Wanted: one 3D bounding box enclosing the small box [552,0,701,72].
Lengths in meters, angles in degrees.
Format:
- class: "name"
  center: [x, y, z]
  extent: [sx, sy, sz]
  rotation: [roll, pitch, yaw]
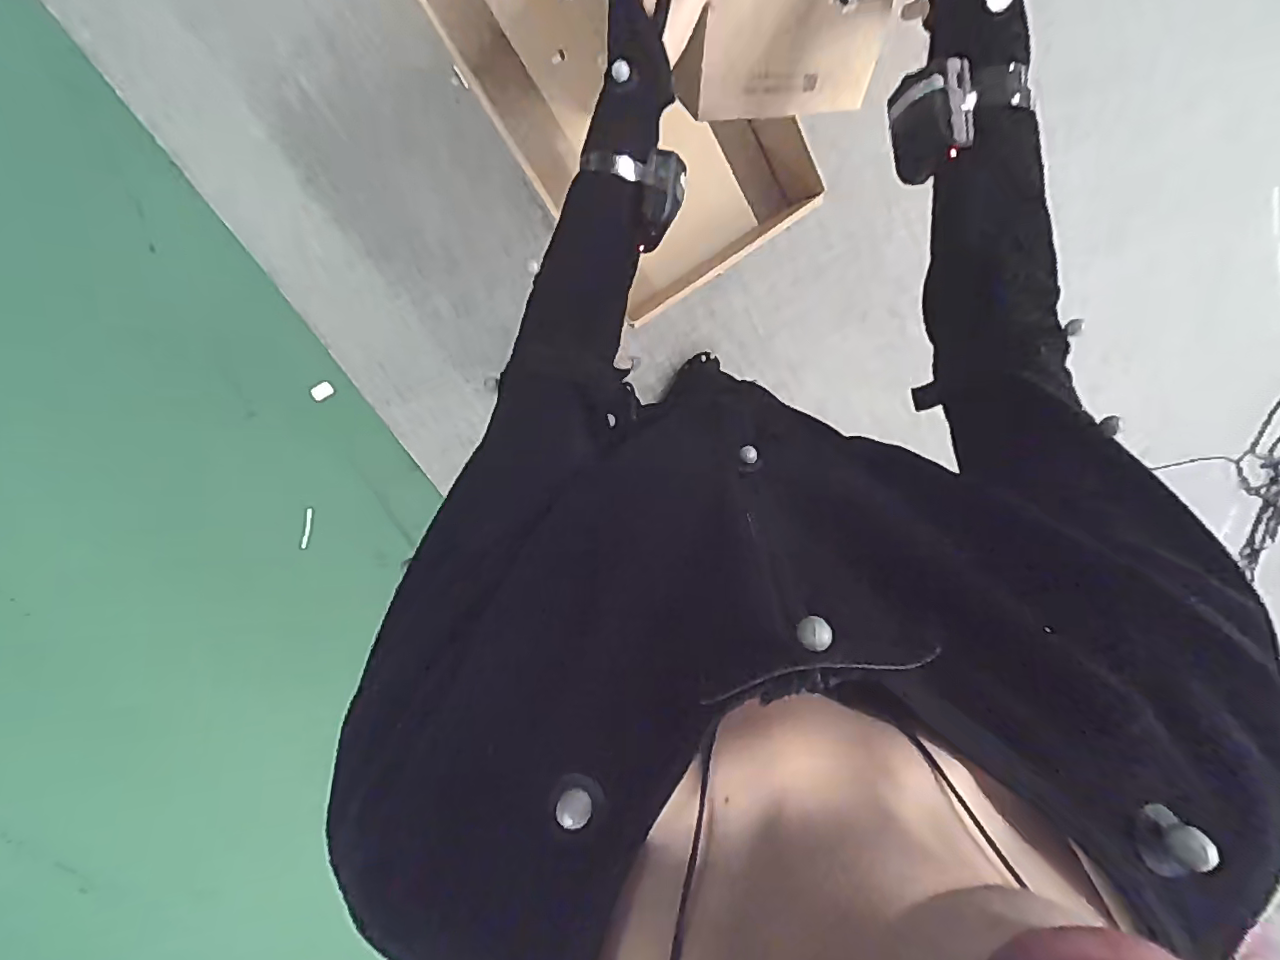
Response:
- class: "small box"
  center: [-0.019, -0.622, 0.631]
  extent: [0.168, 0.176, 0.179]
  rotation: [-38, 112, 4]
